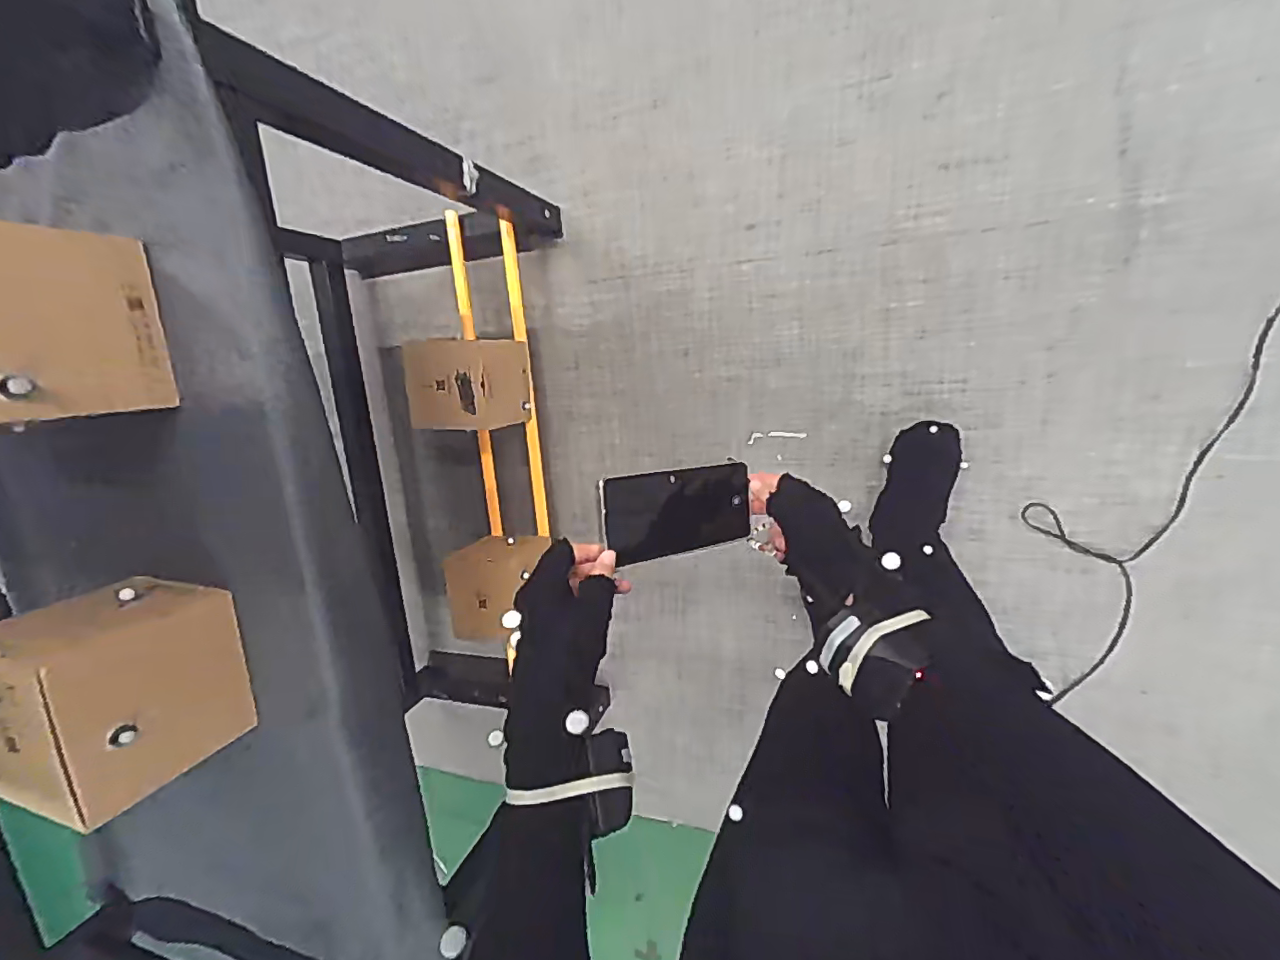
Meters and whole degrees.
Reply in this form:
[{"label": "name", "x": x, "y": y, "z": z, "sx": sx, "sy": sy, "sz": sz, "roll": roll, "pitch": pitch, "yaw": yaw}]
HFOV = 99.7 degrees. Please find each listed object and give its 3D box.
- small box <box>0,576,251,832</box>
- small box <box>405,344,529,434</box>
[{"label": "small box", "x": -0.562, "y": 0.223, "z": 0.583, "sx": 0.168, "sy": 0.176, "sz": 0.179, "roll": 3, "pitch": 103, "yaw": 19}, {"label": "small box", "x": -0.336, "y": -0.188, "z": 1.086, "sx": 0.179, "sy": 0.176, "sz": 0.168, "roll": 3, "pitch": 103, "yaw": 19}]
